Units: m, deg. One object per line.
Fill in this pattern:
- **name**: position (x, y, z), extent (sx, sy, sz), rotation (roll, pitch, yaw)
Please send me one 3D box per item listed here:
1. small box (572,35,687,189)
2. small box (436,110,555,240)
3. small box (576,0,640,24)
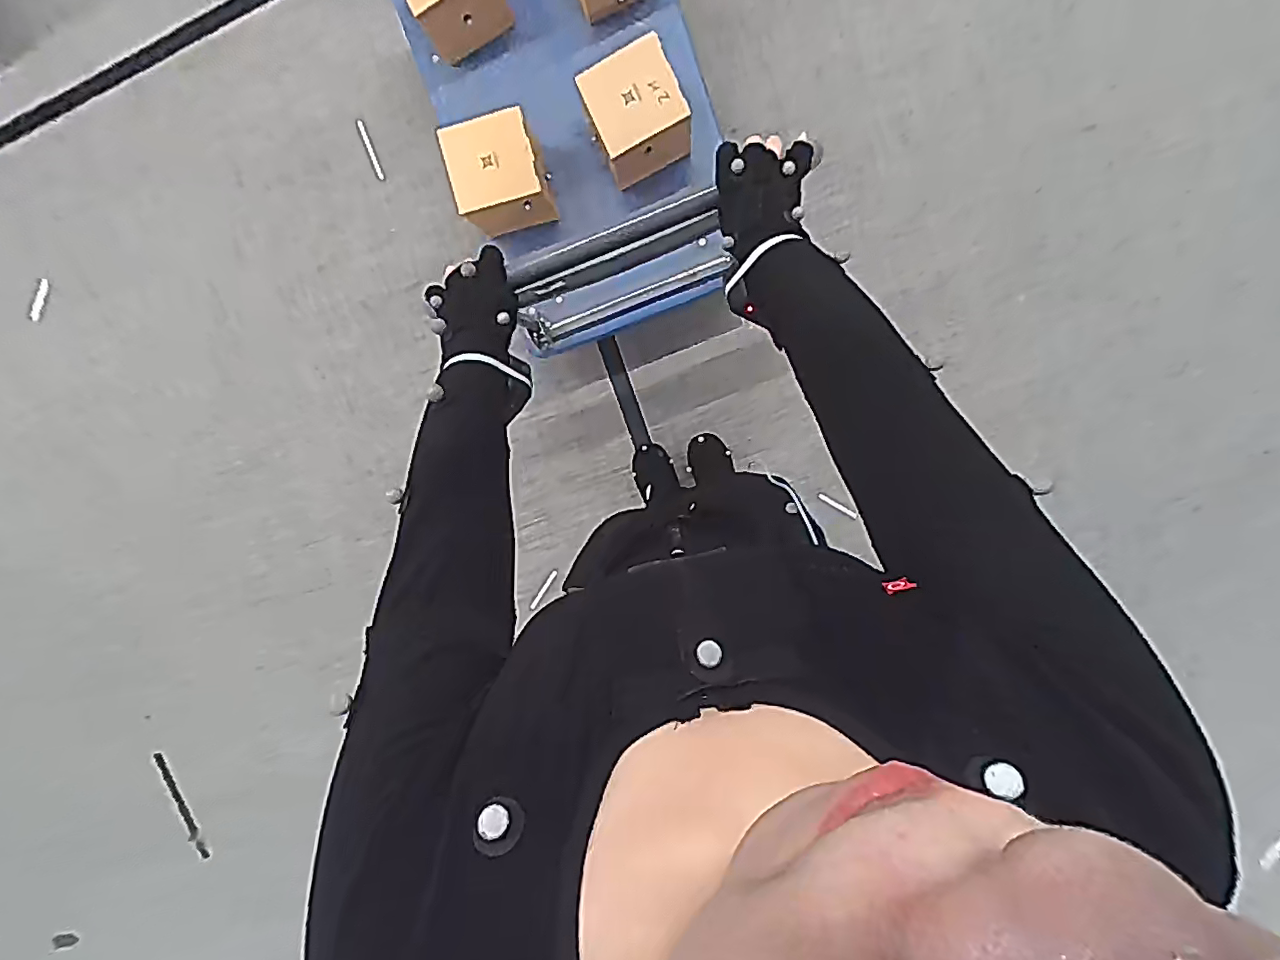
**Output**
- **small box**: position (-0.013, -0.735, 1.105), extent (0.179, 0.176, 0.168), rotation (-25, 97, 8)
- **small box**: position (-0.296, -0.632, 1.144), extent (0.179, 0.176, 0.168), rotation (-14, 97, 5)
- **small box**: position (-0.080, -1.065, 1.057), extent (0.168, 0.176, 0.179), rotation (-23, 98, 8)
